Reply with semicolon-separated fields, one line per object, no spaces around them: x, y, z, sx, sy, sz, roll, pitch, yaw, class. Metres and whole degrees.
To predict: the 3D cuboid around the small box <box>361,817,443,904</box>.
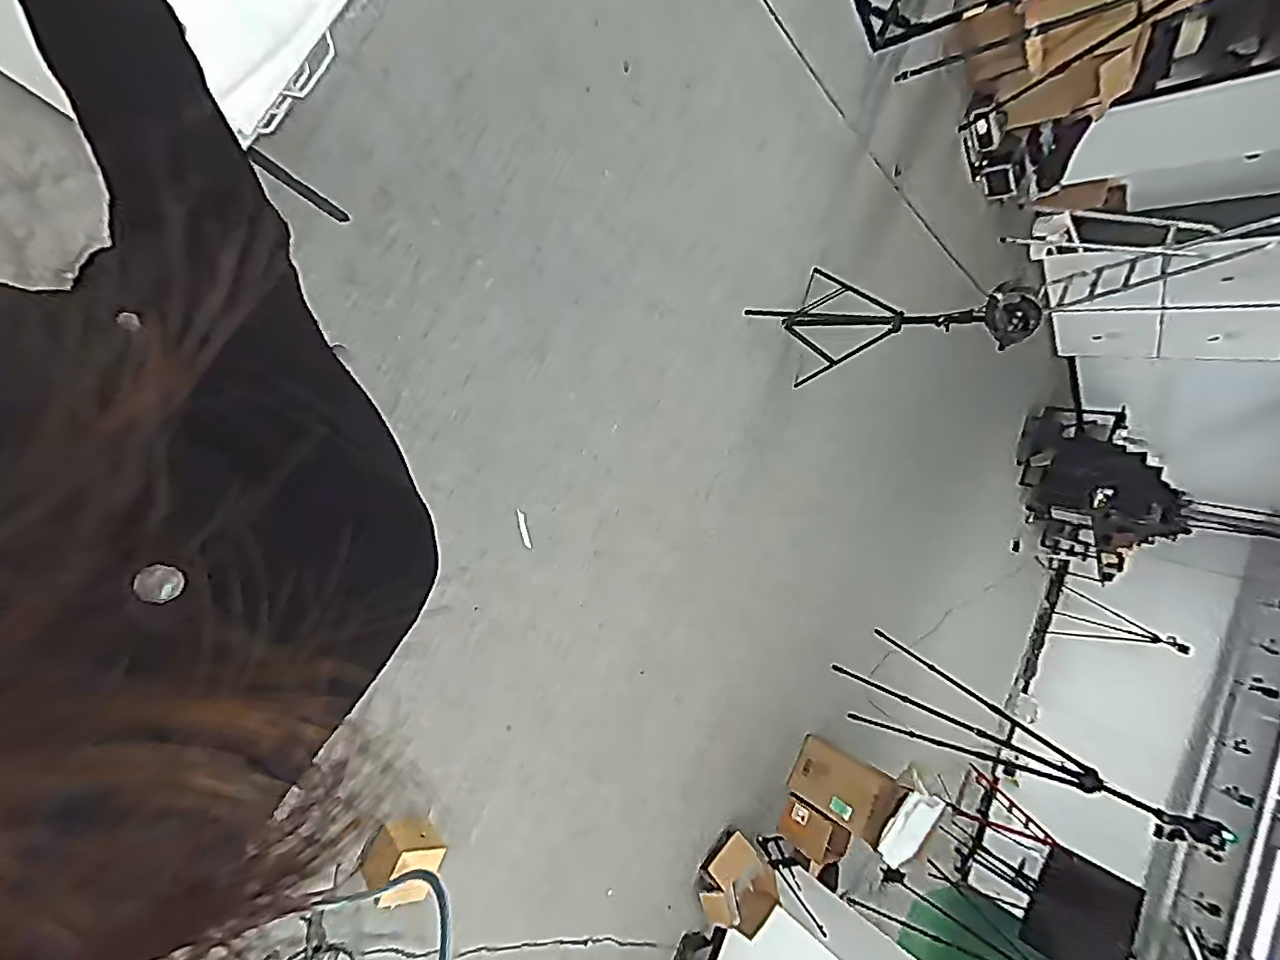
-0.793;1.249;1.793;0.168;0.176;0.179;31;81;-43;small box
